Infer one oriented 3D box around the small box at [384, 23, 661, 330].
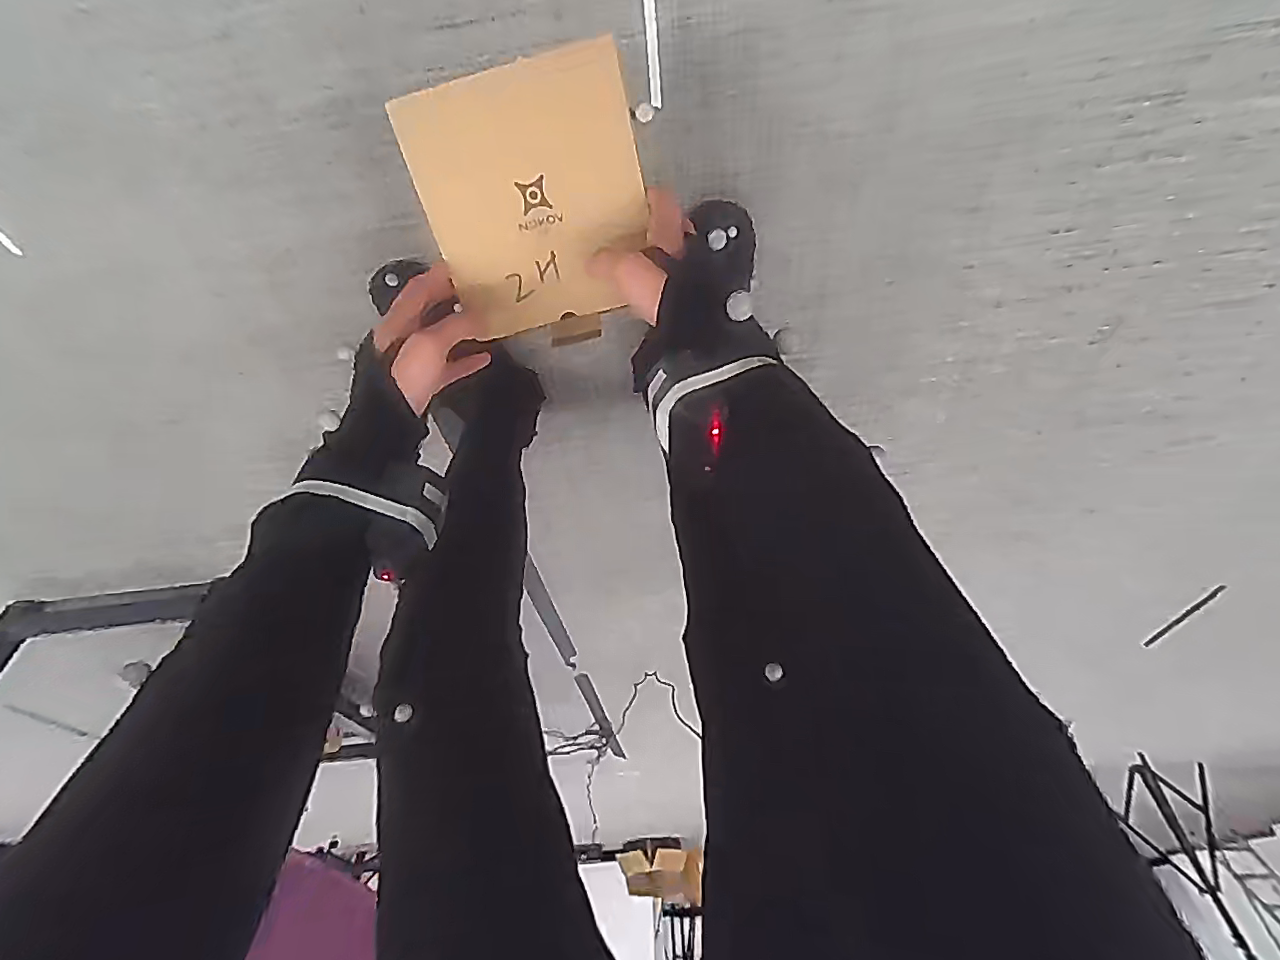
[{"bbox_3d":[-0.079,-0.253,0.469,0.168,0.176,0.179,-10,122,8],"label":"small box"}]
